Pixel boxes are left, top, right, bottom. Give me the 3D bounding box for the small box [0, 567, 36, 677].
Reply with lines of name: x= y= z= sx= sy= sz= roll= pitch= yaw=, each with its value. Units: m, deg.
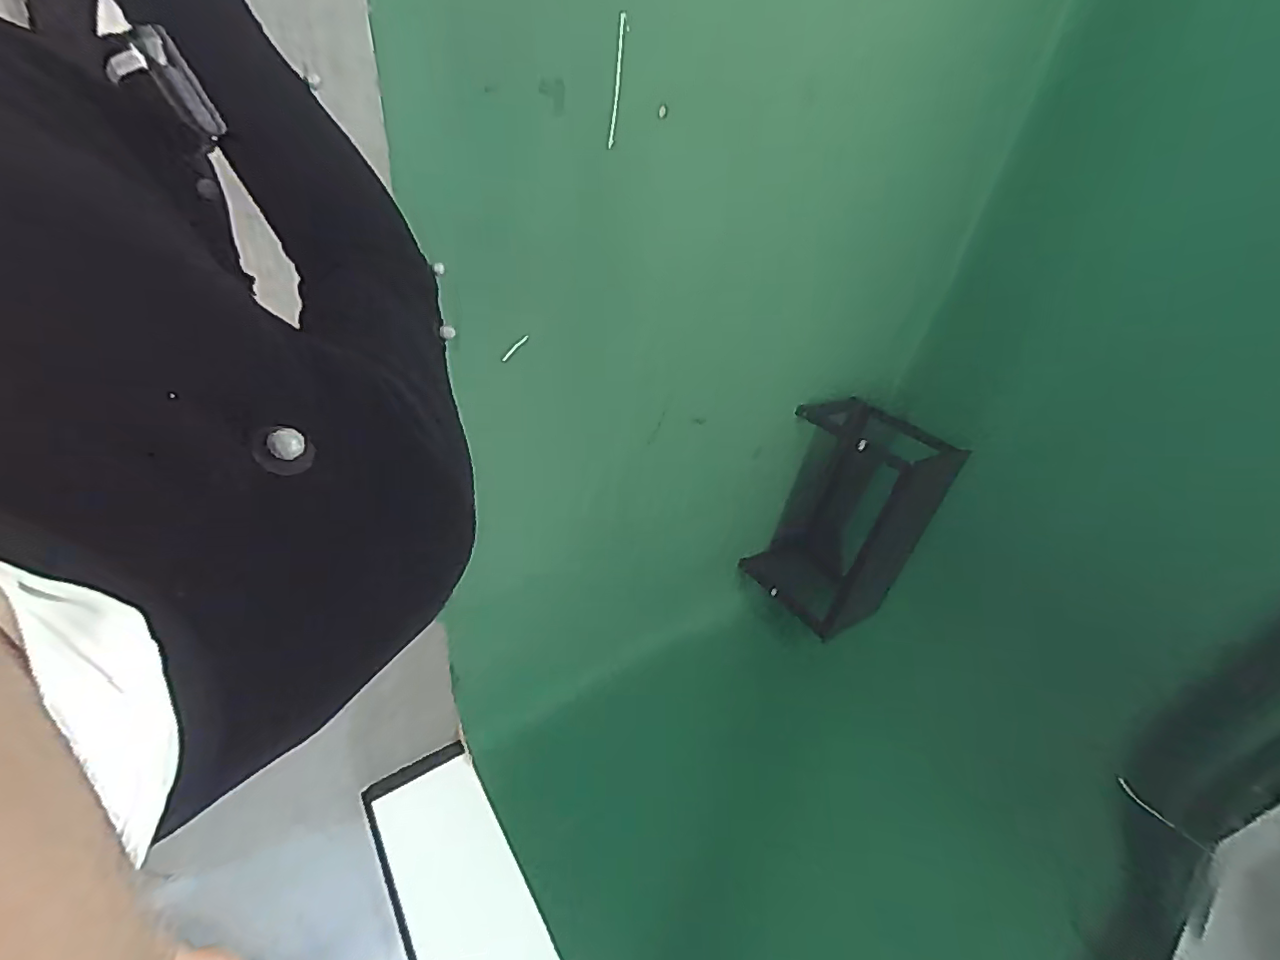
small box: x=-1.354 y=0.291 z=1.073 sx=0.168 sy=0.176 sz=0.179 roll=-14 pitch=128 yaw=-36
